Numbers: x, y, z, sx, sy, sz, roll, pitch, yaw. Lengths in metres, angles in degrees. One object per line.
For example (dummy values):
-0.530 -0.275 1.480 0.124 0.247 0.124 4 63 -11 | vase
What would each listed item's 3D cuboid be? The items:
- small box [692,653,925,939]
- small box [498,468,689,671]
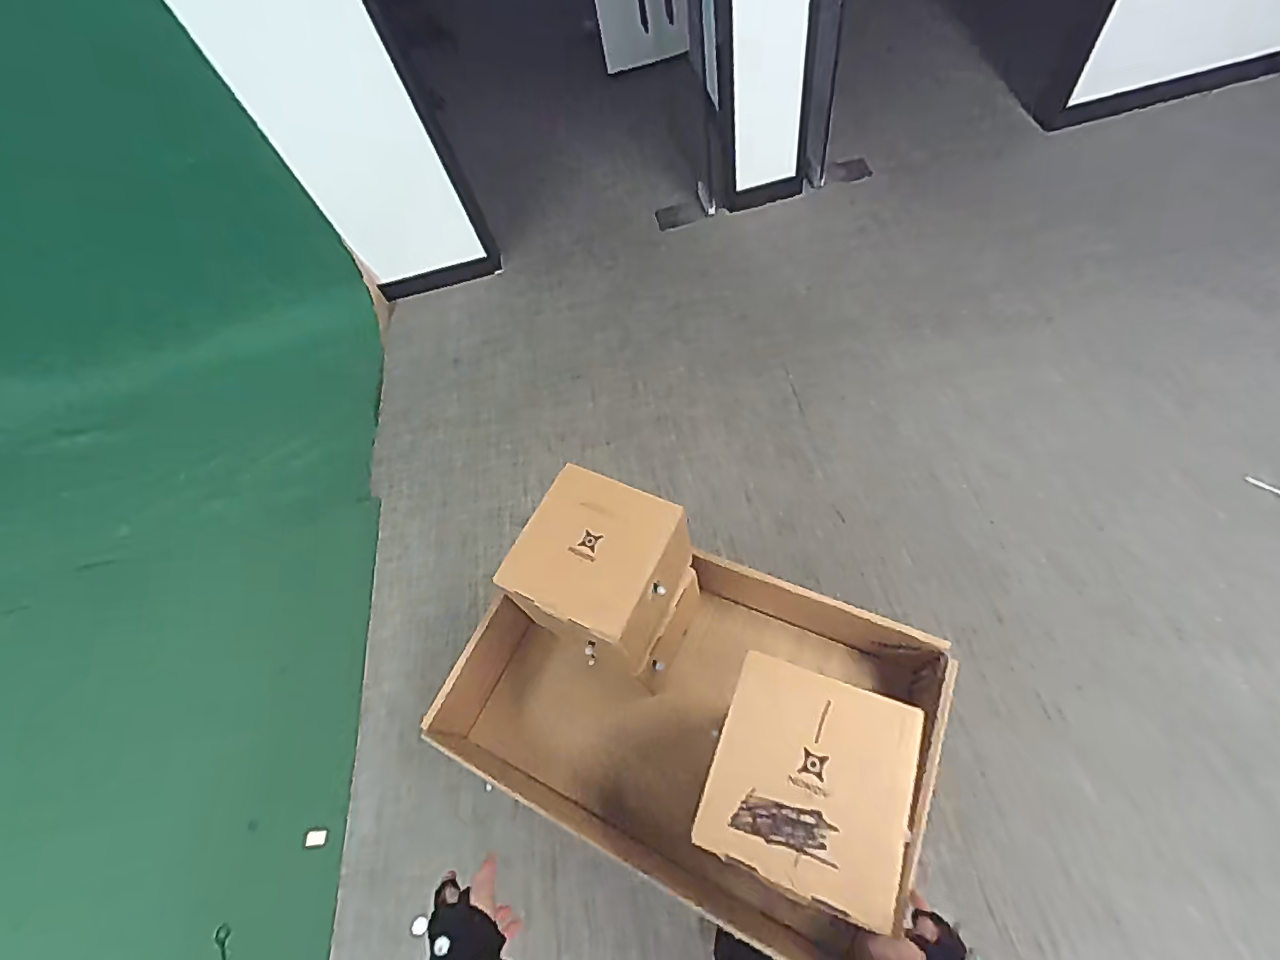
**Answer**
0.163 0.304 0.545 0.168 0.176 0.179 16 63 18 | small box
-0.043 0.120 0.691 0.168 0.176 0.179 22 65 19 | small box
